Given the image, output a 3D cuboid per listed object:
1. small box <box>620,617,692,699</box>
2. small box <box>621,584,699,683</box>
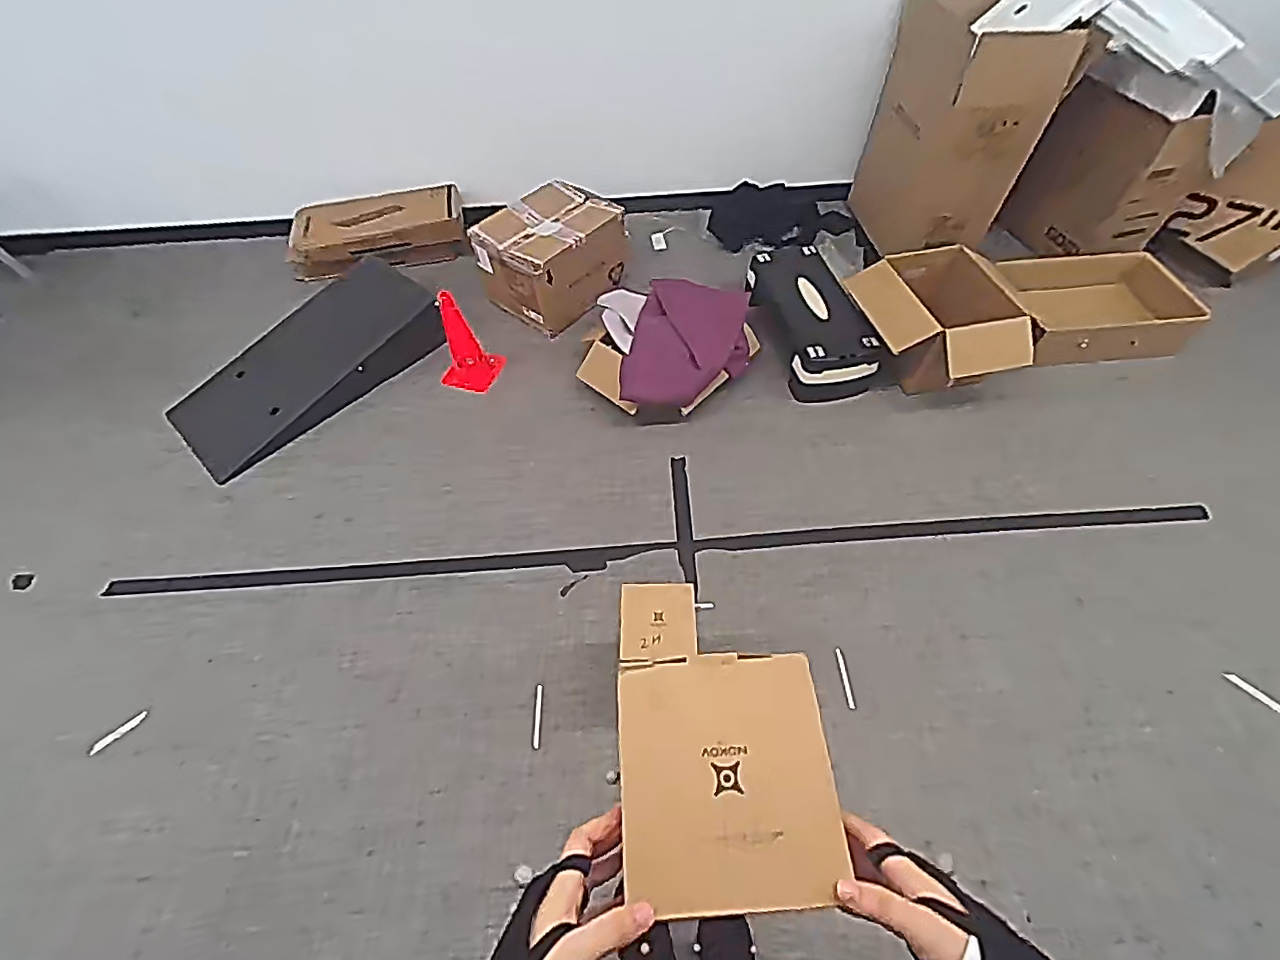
[{"bbox_3d":[0.043,0.452,1.374,0.179,0.176,0.168,0,56,2],"label":"small box"},{"bbox_3d":[0.045,0.353,1.241,0.168,0.176,0.179,-1,56,2],"label":"small box"}]
